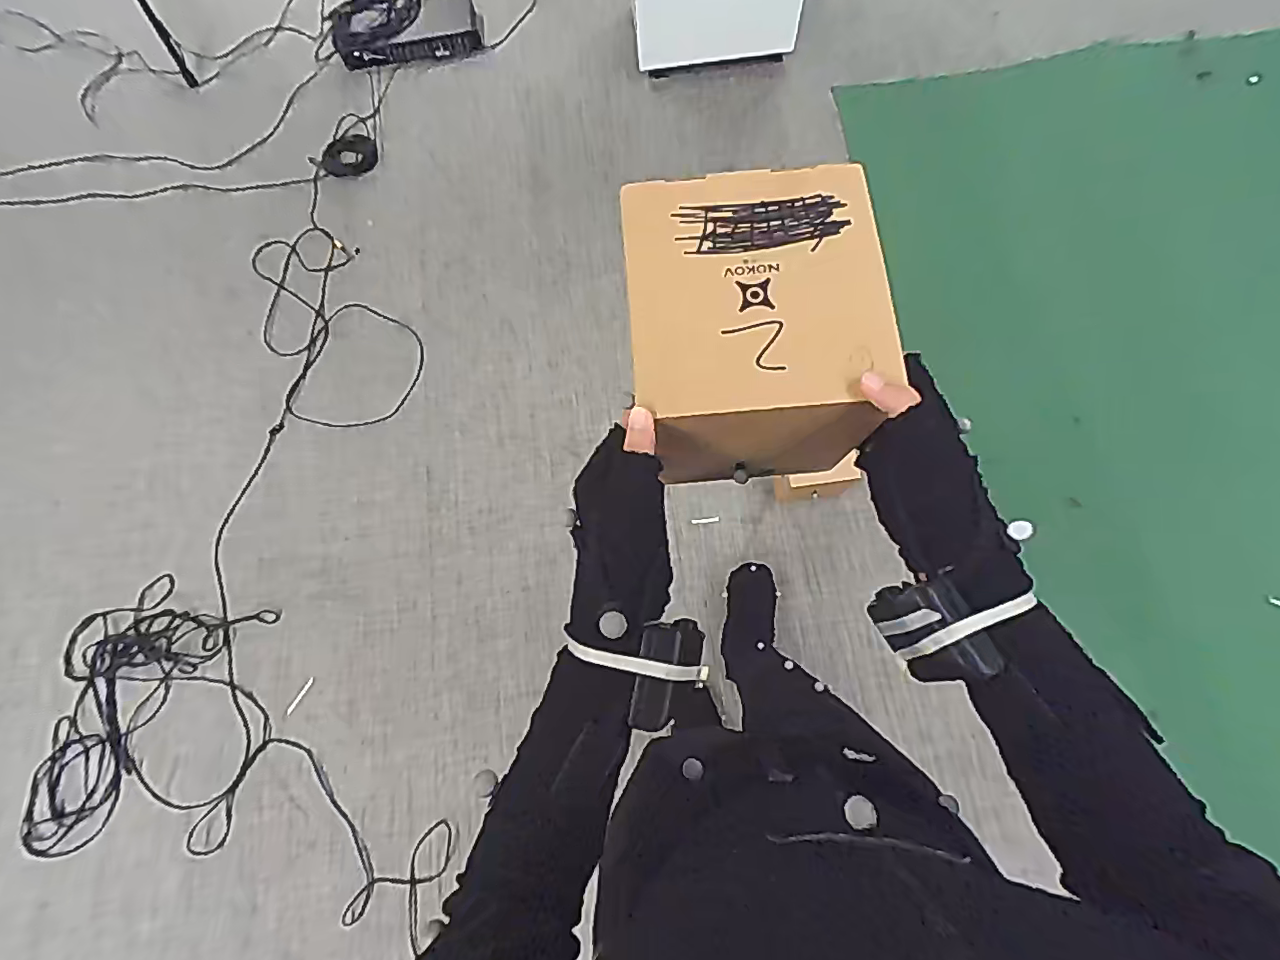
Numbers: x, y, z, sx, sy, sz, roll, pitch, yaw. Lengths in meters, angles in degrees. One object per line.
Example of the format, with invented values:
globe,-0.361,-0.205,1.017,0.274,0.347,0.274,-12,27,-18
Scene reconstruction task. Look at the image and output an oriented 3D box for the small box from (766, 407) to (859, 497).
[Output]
small box,0.420,-0.061,1.342,0.168,0.176,0.179,-7,74,1
